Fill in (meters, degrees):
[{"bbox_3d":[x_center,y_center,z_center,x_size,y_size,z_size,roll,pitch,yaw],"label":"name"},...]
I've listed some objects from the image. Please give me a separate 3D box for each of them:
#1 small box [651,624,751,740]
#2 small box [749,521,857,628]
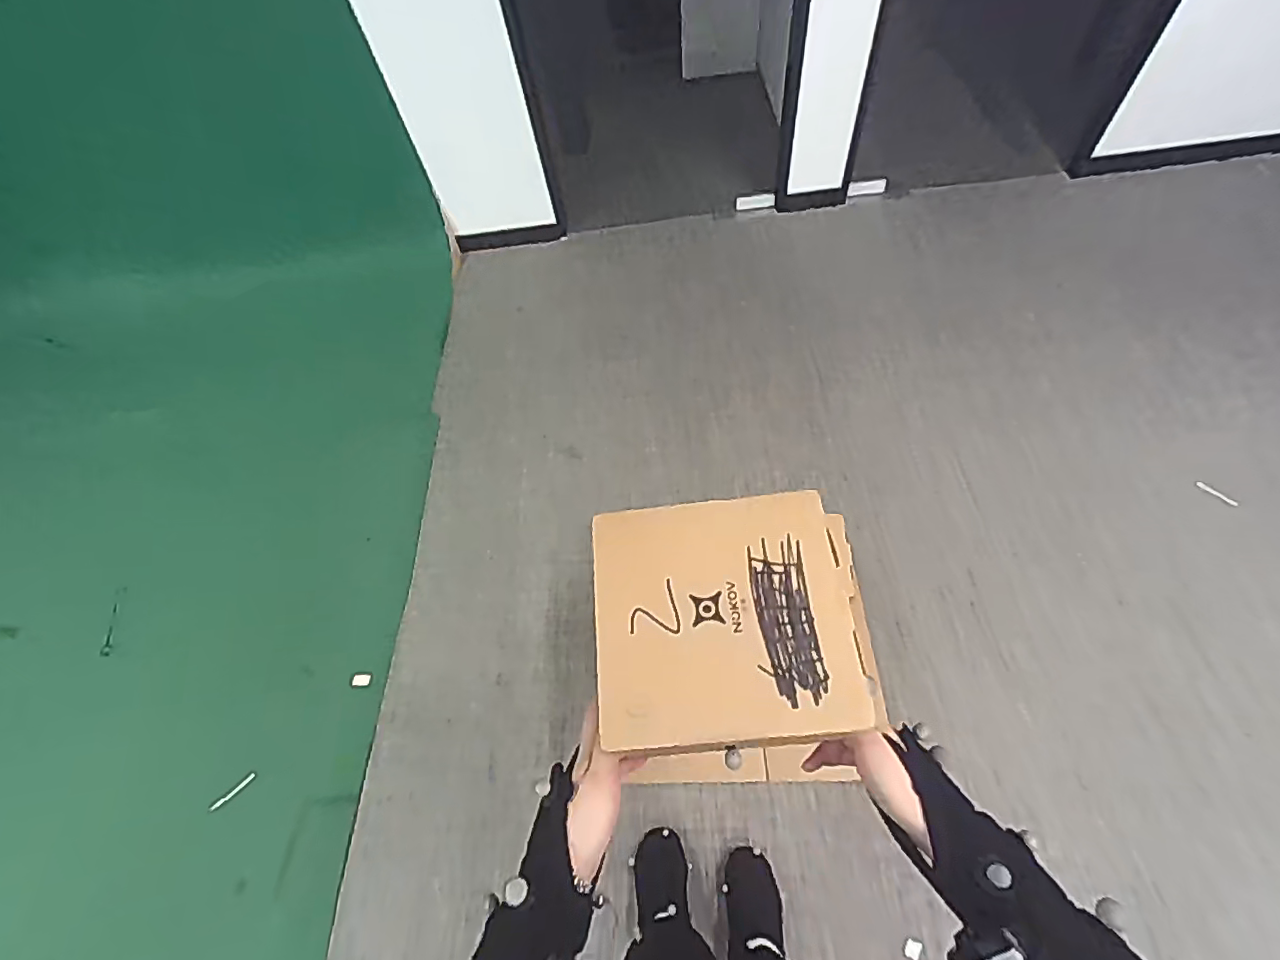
[{"bbox_3d":[0.107,0.375,0.994,0.168,0.176,0.179,-3,60,5],"label":"small box"},{"bbox_3d":[0.314,0.191,1.076,0.179,0.176,0.168,-1,59,8],"label":"small box"}]
